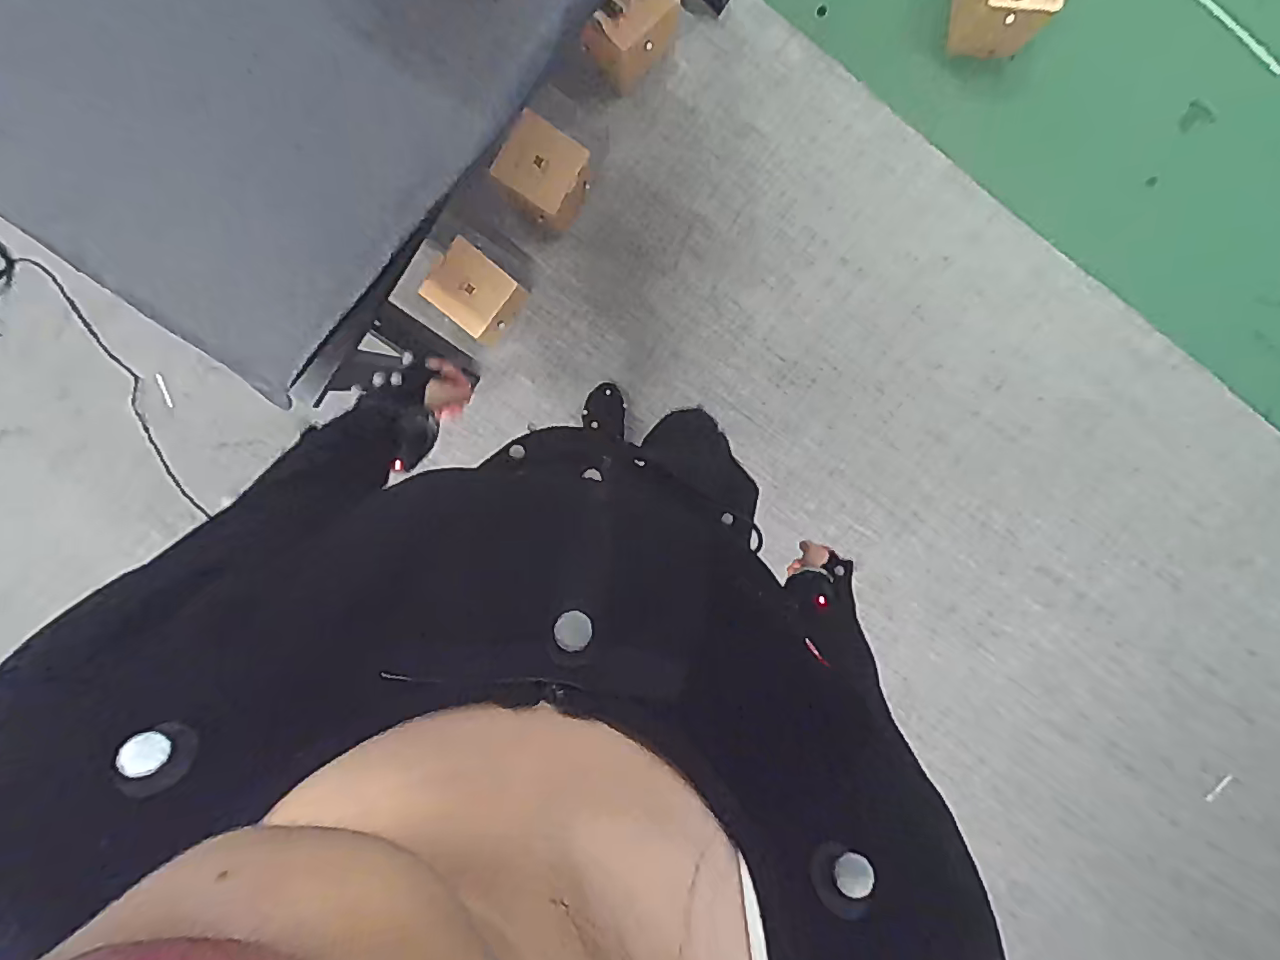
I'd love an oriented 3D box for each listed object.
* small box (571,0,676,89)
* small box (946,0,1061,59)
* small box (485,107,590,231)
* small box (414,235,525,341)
[{"bbox_3d":[-0.037,-1.053,1.233,0.179,0.176,0.168,-42,98,4],"label":"small box"},{"bbox_3d":[0.839,-1.125,1.246,0.168,0.176,0.179,3,98,-2],"label":"small box"},{"bbox_3d":[-0.231,-0.720,1.280,0.179,0.176,0.168,32,96,-5],"label":"small box"},{"bbox_3d":[-0.404,-0.456,1.319,0.179,0.176,0.168,39,96,-6],"label":"small box"}]
